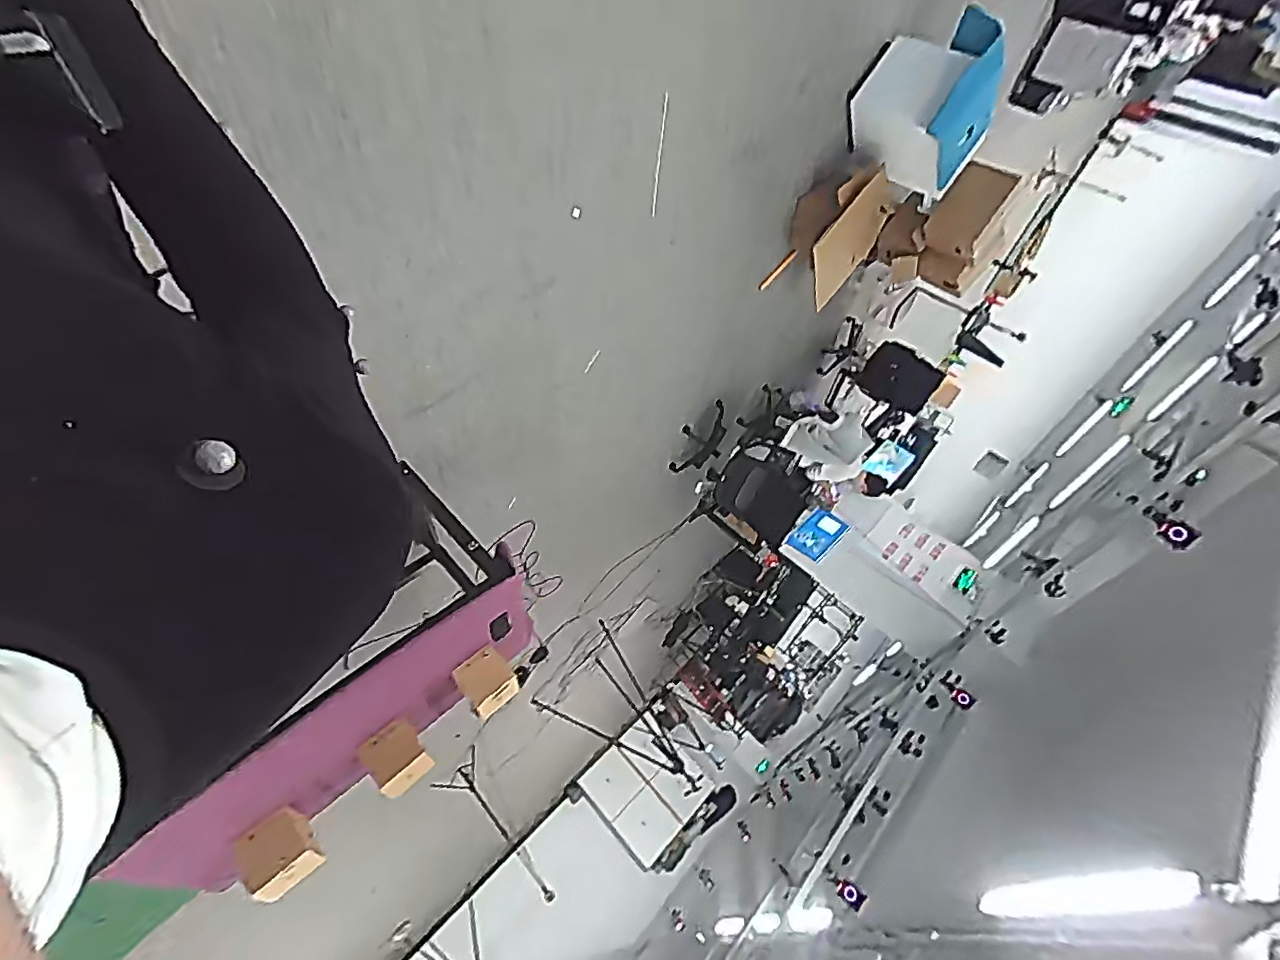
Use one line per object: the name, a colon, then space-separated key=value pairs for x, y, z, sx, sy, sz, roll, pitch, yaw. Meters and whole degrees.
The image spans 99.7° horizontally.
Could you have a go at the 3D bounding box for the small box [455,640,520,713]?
small box: x=-0.572 y=0.729 z=2.026 sx=0.168 sy=0.176 sz=0.179 roll=-34 pitch=153 yaw=-29

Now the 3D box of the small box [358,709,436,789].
small box: x=-0.837 y=0.925 z=1.868 sx=0.168 sy=0.176 sz=0.179 roll=-36 pitch=152 yaw=-30

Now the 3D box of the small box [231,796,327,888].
small box: x=-1.114 y=1.117 z=1.673 sx=0.168 sy=0.176 sz=0.179 roll=-35 pitch=153 yaw=-31
